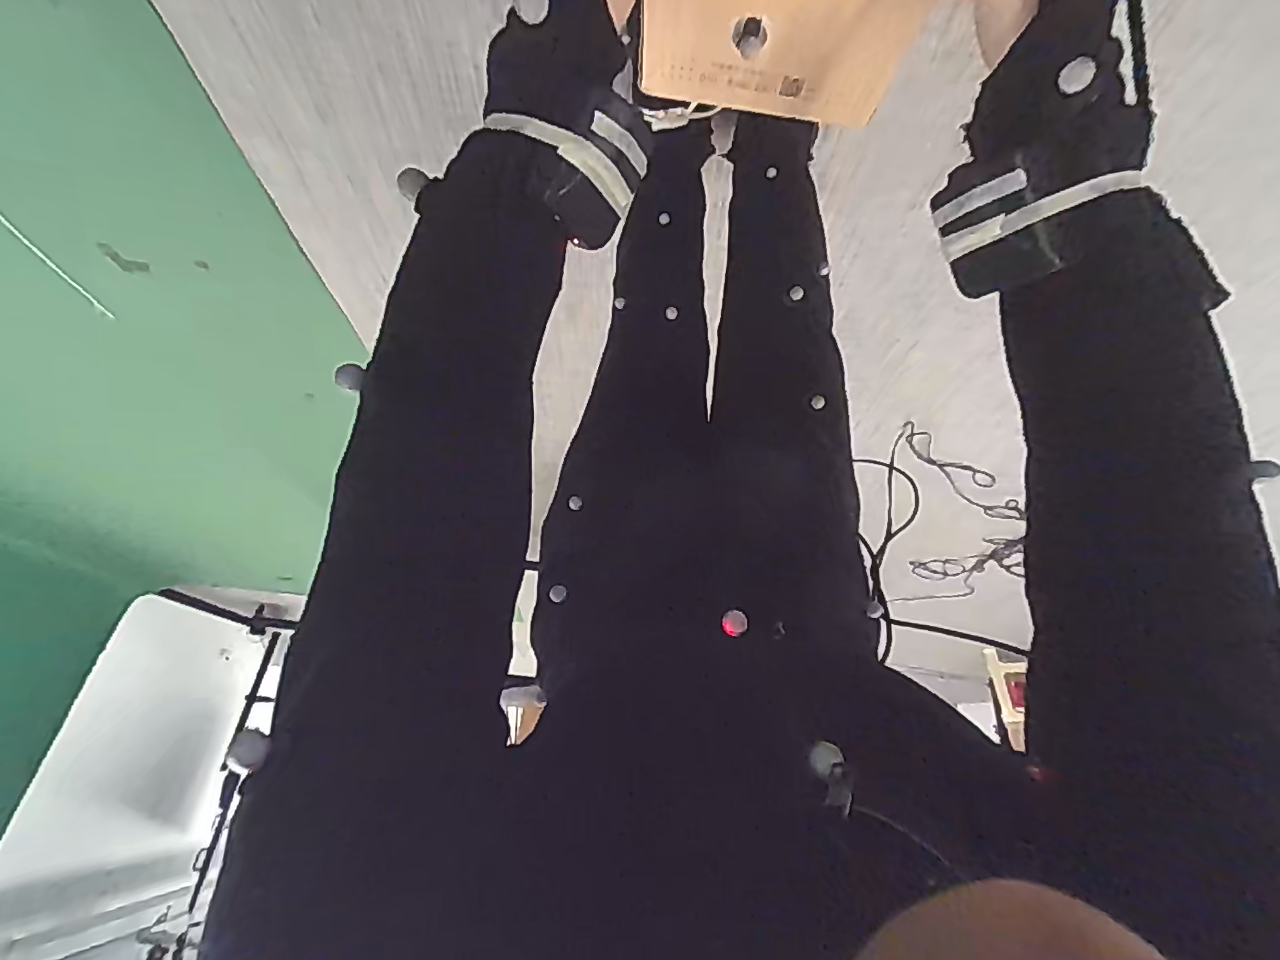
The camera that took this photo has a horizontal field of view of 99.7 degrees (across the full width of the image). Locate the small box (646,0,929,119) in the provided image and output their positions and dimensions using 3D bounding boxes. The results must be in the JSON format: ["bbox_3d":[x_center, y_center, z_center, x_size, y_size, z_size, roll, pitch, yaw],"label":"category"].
[{"bbox_3d":[0.095,-0.363,0.317,0.168,0.179,0.176,8,172,0],"label":"small box"}]
